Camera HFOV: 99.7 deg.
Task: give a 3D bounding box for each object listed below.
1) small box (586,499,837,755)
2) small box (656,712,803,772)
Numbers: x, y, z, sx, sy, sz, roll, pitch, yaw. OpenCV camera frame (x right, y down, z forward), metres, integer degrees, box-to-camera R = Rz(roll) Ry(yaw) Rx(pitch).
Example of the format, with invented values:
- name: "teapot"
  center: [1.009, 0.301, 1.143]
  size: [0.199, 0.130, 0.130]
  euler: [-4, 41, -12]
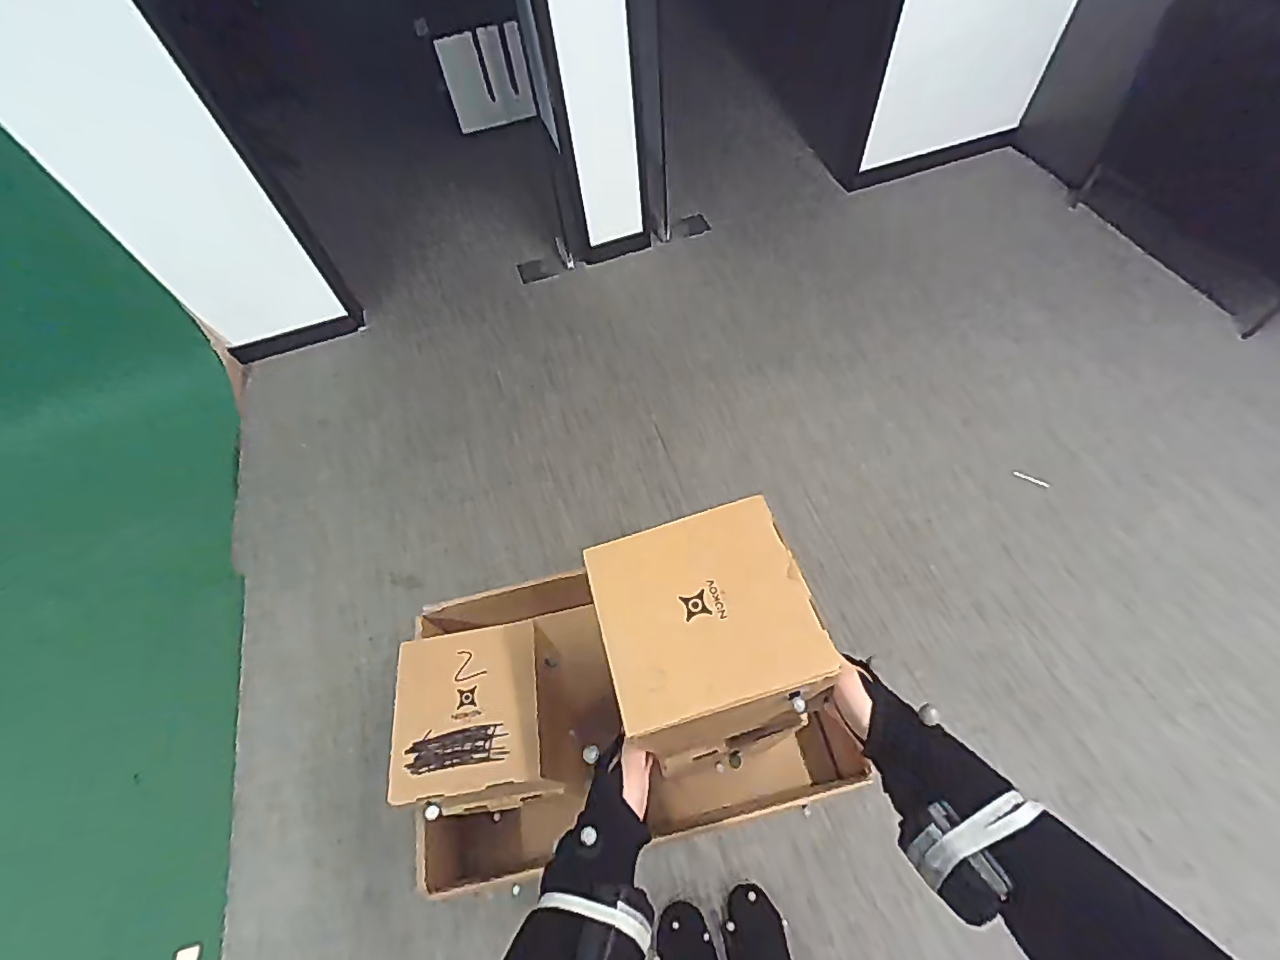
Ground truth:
- name: "small box"
  center: [0.063, 0.149, 0.521]
  size: [0.179, 0.176, 0.168]
  euler: [-17, 57, -2]
- name: "small box"
  center: [0.085, 0.253, 0.687]
  size: [0.168, 0.176, 0.179]
  euler: [-16, 60, -4]
